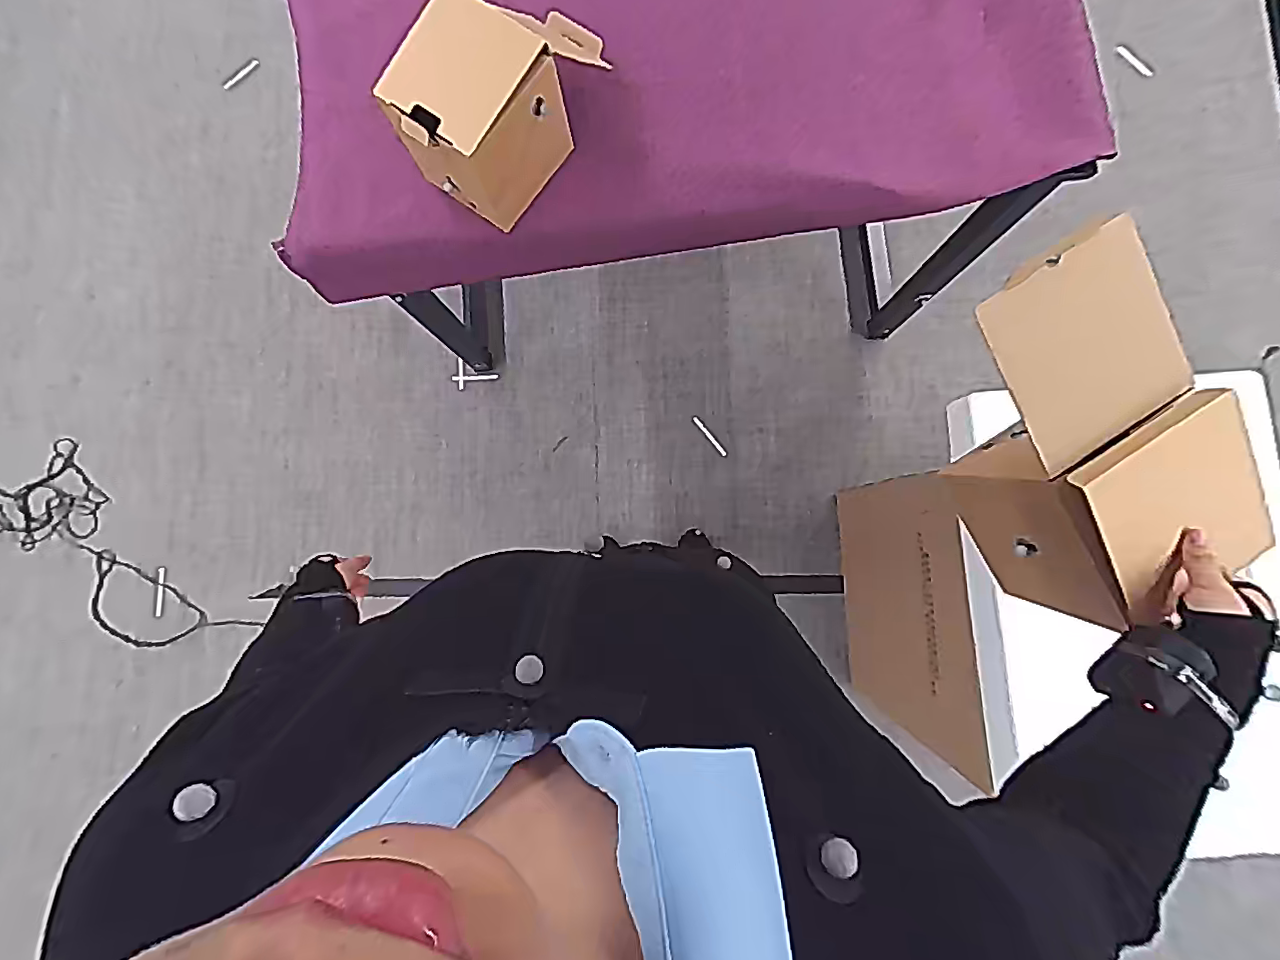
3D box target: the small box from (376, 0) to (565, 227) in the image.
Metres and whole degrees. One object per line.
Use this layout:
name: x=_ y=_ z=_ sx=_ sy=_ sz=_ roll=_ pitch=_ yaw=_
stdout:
small box: x=-0.223 y=-0.509 z=0.769 sx=0.168 sy=0.176 sz=0.179 roll=36 pitch=86 yaw=7
